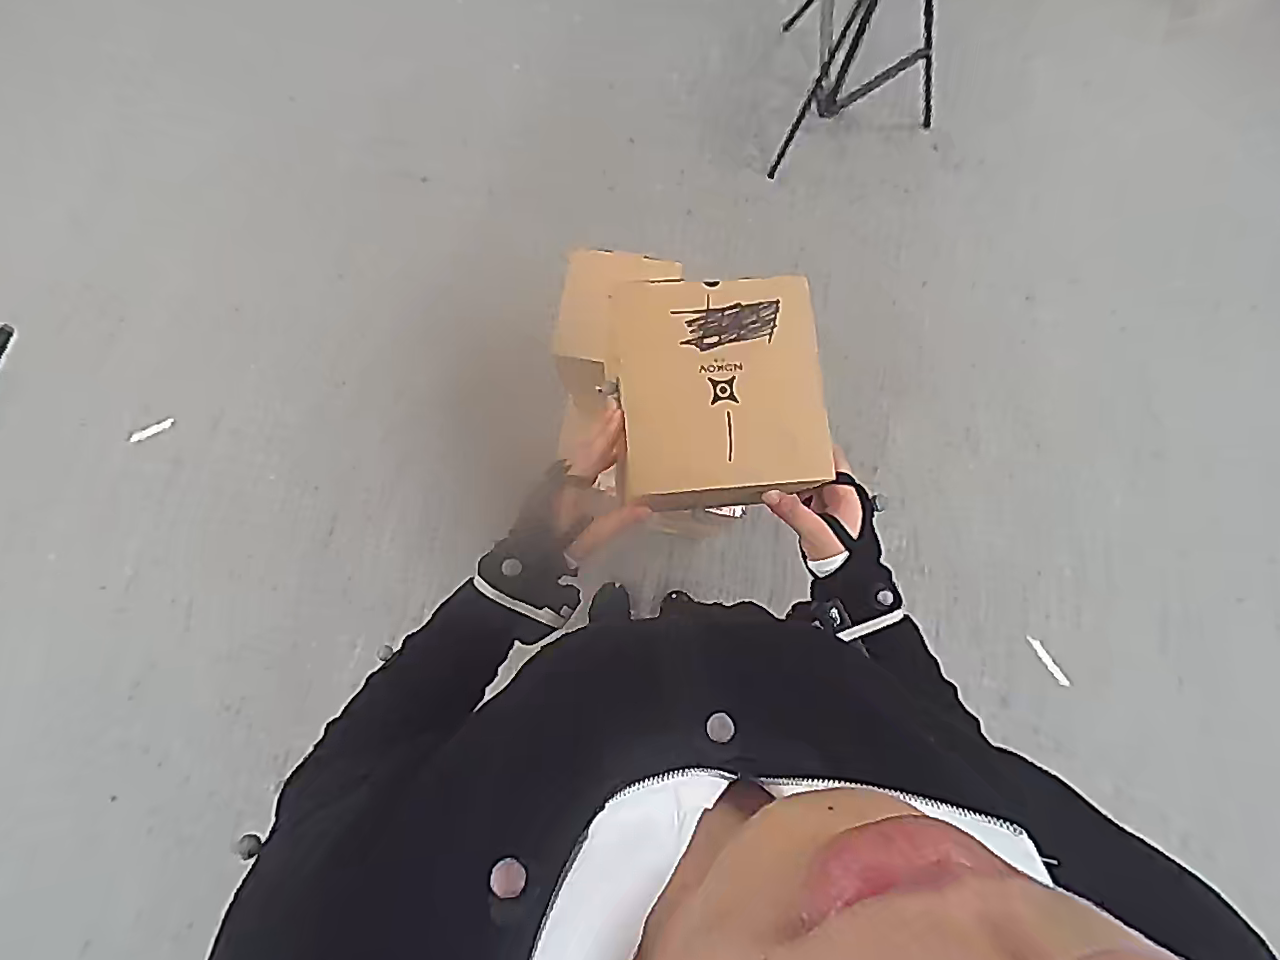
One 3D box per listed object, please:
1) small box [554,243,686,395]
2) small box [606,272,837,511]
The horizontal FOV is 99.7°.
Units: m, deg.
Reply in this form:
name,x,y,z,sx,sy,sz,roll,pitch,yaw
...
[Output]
name,x,y,z,sx,sy,sz,roll,pitch,yaw
small box,-0.027,-0.239,0.858,0.168,0.176,0.179,10,82,3
small box,0.059,-0.071,0.507,0.168,0.176,0.179,-5,82,-7
